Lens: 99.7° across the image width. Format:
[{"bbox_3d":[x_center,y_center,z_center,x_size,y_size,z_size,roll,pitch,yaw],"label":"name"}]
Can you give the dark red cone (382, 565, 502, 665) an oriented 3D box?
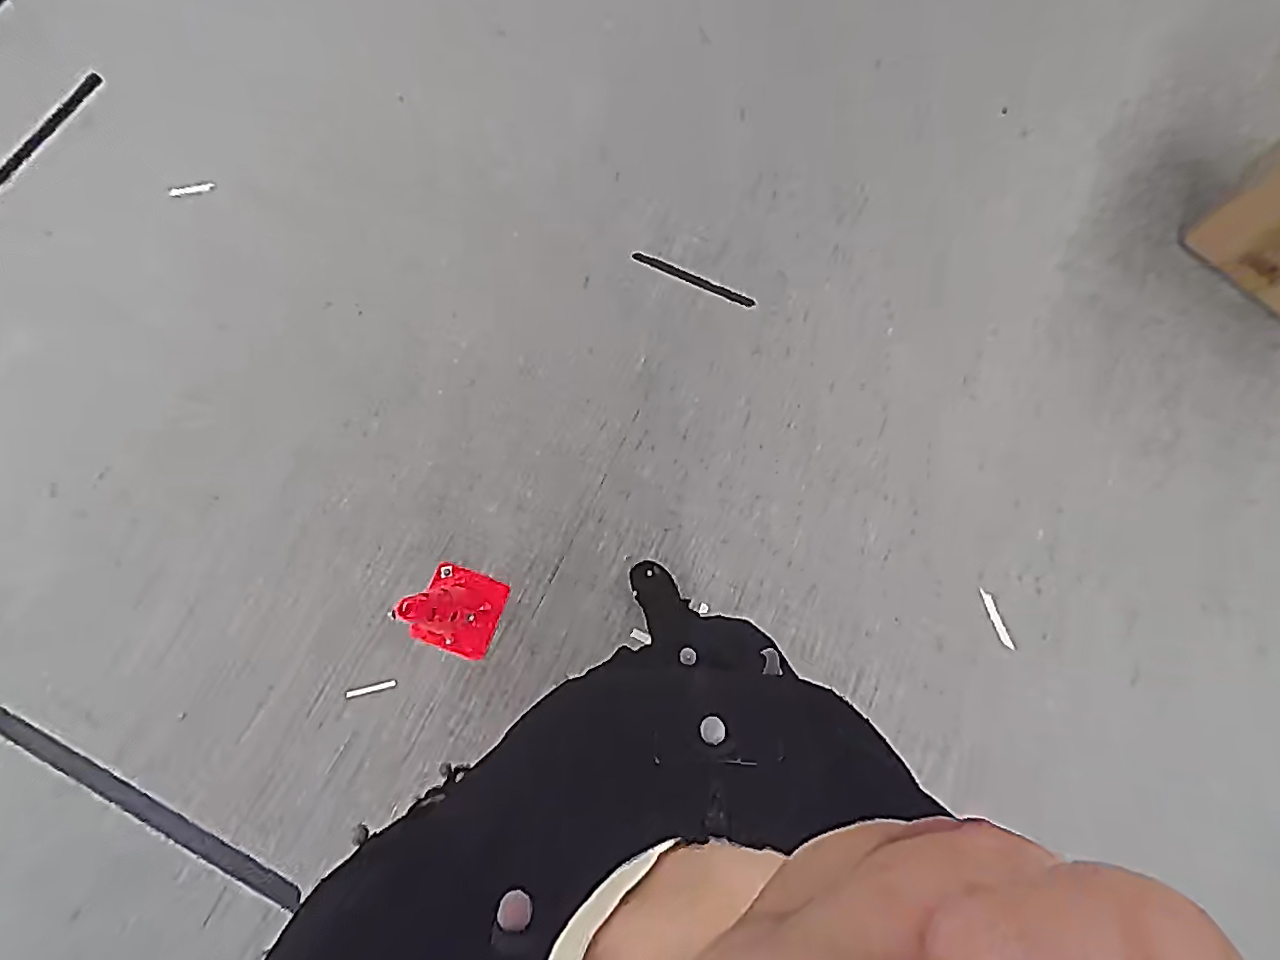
[{"bbox_3d":[-0.447,0.289,1.148,0.202,0.394,0.201,19,78,3],"label":"dark red cone"}]
